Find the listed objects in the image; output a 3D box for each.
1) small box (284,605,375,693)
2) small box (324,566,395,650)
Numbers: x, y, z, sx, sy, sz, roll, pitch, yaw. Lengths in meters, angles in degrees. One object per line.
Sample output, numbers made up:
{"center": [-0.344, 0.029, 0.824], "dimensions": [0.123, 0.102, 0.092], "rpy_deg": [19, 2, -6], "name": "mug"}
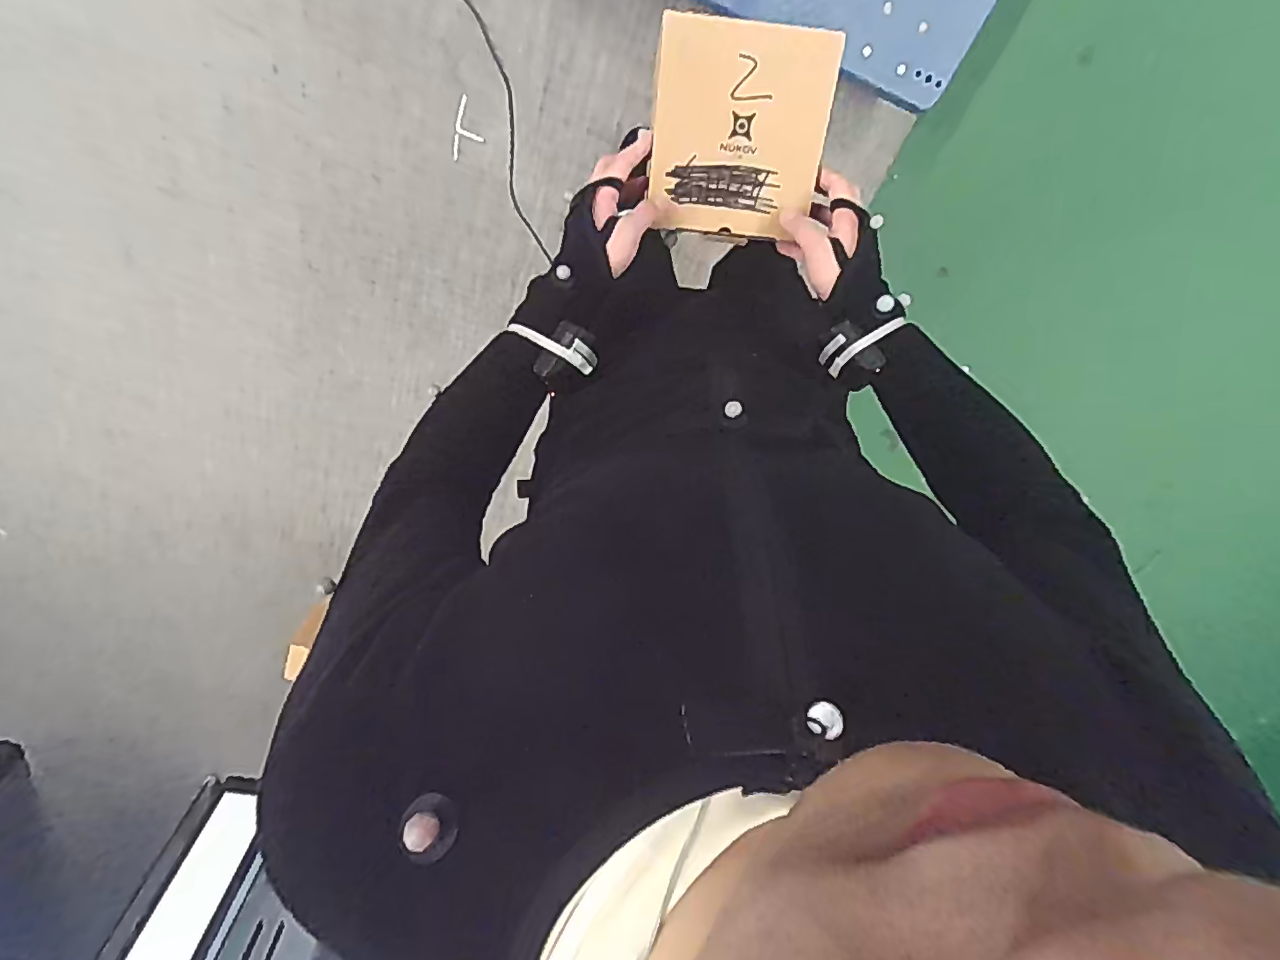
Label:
{"center": [-0.921, 0.502, 1.618], "dimensions": [0.179, 0.176, 0.168], "rpy_deg": [22, 120, -15], "name": "small box"}
{"center": [-0.918, 0.414, 1.756], "dimensions": [0.168, 0.176, 0.179], "rpy_deg": [22, 120, -16], "name": "small box"}
